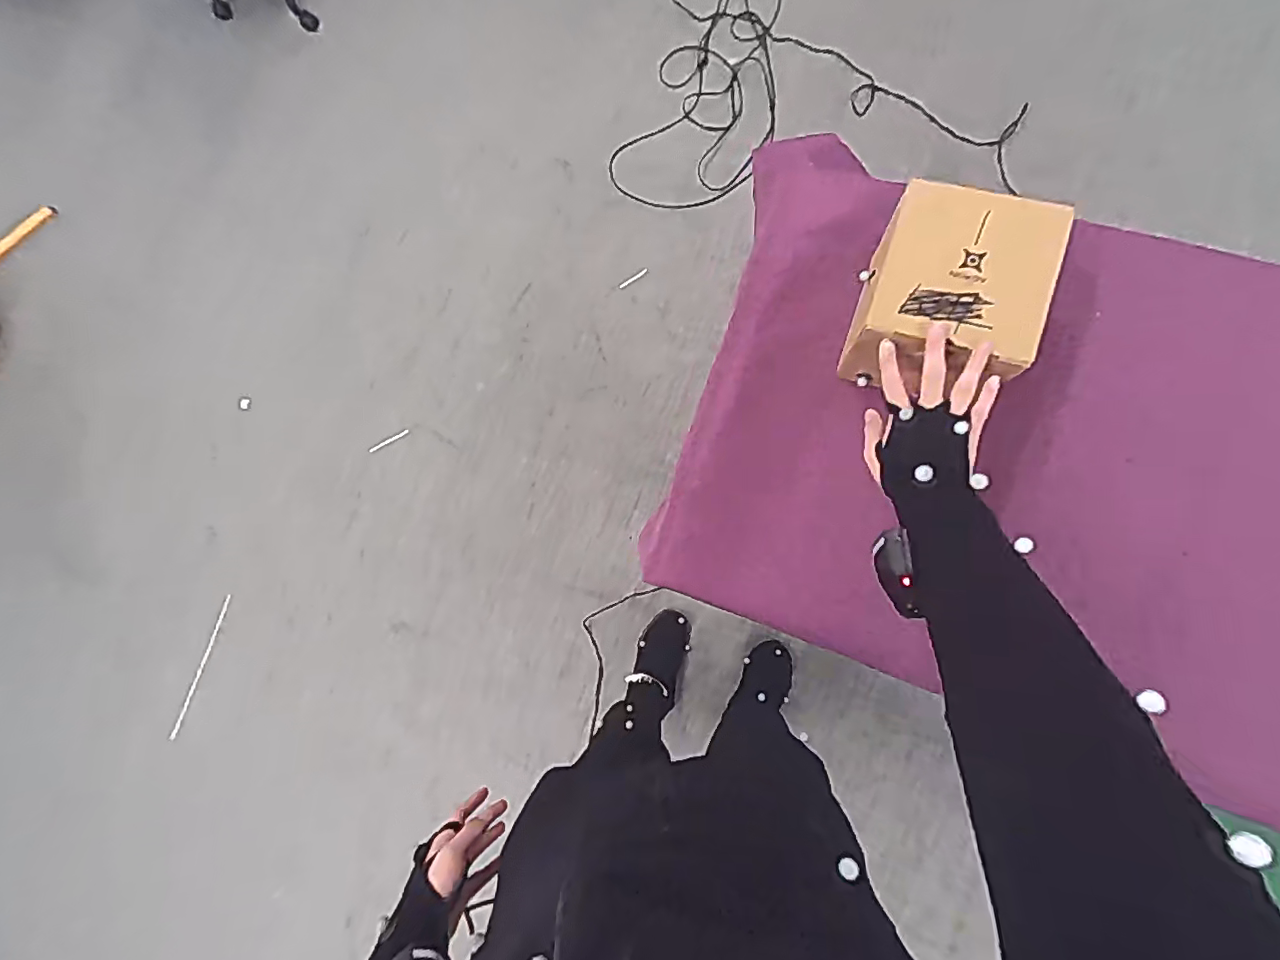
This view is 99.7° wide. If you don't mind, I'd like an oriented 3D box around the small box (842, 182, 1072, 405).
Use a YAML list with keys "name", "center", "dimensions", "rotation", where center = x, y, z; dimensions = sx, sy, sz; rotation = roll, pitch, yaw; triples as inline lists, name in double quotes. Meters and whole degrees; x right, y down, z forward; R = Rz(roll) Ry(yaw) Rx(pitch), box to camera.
- name: "small box"
  center: [0.353, -0.206, 0.639]
  dimensions: [0.168, 0.176, 0.179]
  rotation: [18, 85, 12]
